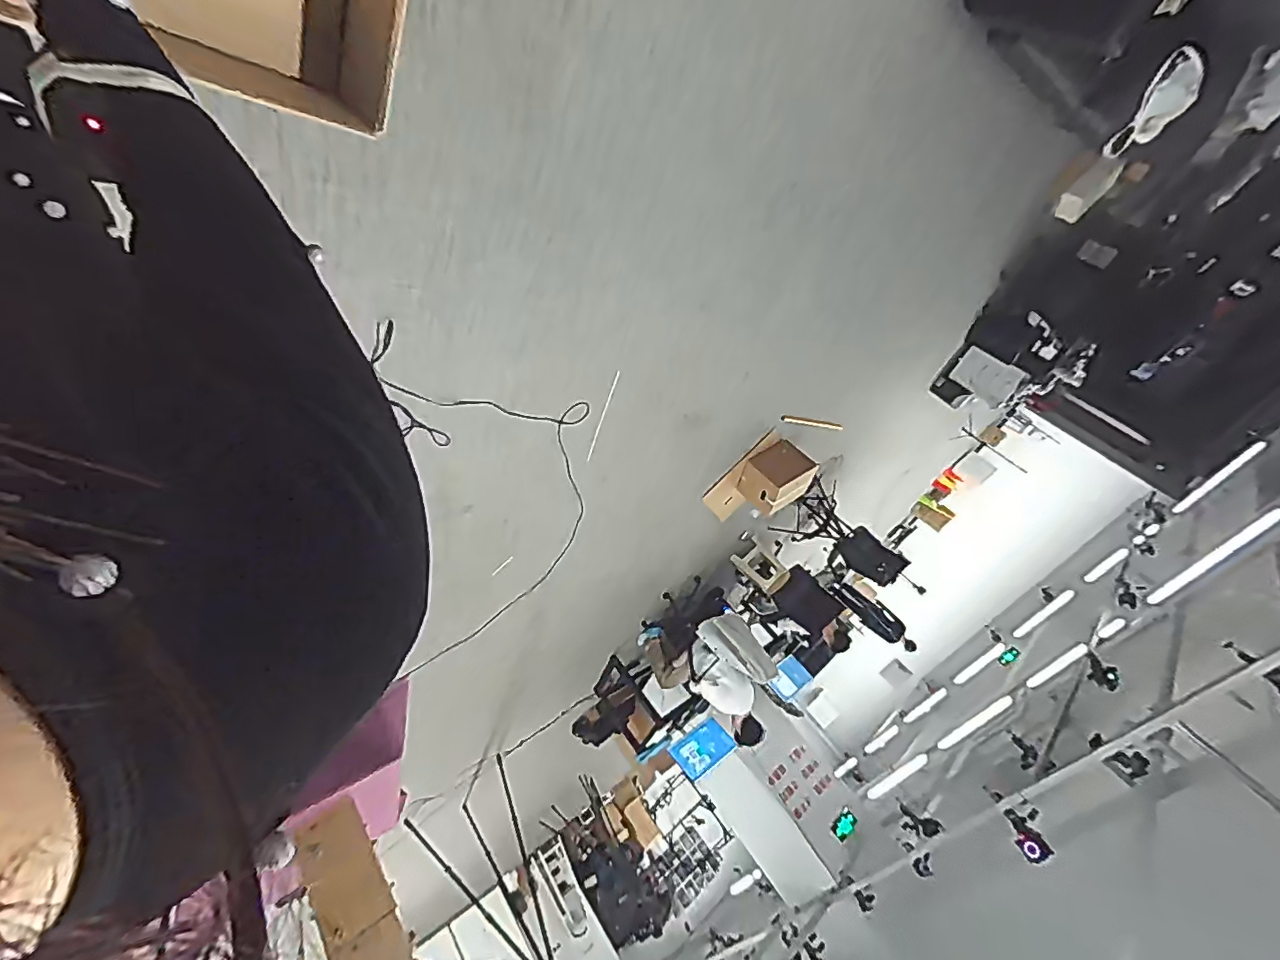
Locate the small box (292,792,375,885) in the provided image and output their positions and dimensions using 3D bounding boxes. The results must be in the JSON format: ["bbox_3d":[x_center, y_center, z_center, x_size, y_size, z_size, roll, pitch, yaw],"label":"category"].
[{"bbox_3d":[-0.875,1.034,1.548,0.168,0.176,0.179,-18,144,-38],"label":"small box"}]

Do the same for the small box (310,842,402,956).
[{"bbox_3d":[-0.773,1.138,1.477,0.179,0.176,0.168,-19,144,-36],"label":"small box"}]

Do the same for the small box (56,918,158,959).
[{"bbox_3d":[-1.238,1.165,1.247,0.168,0.176,0.179,-18,143,-40],"label":"small box"}]
